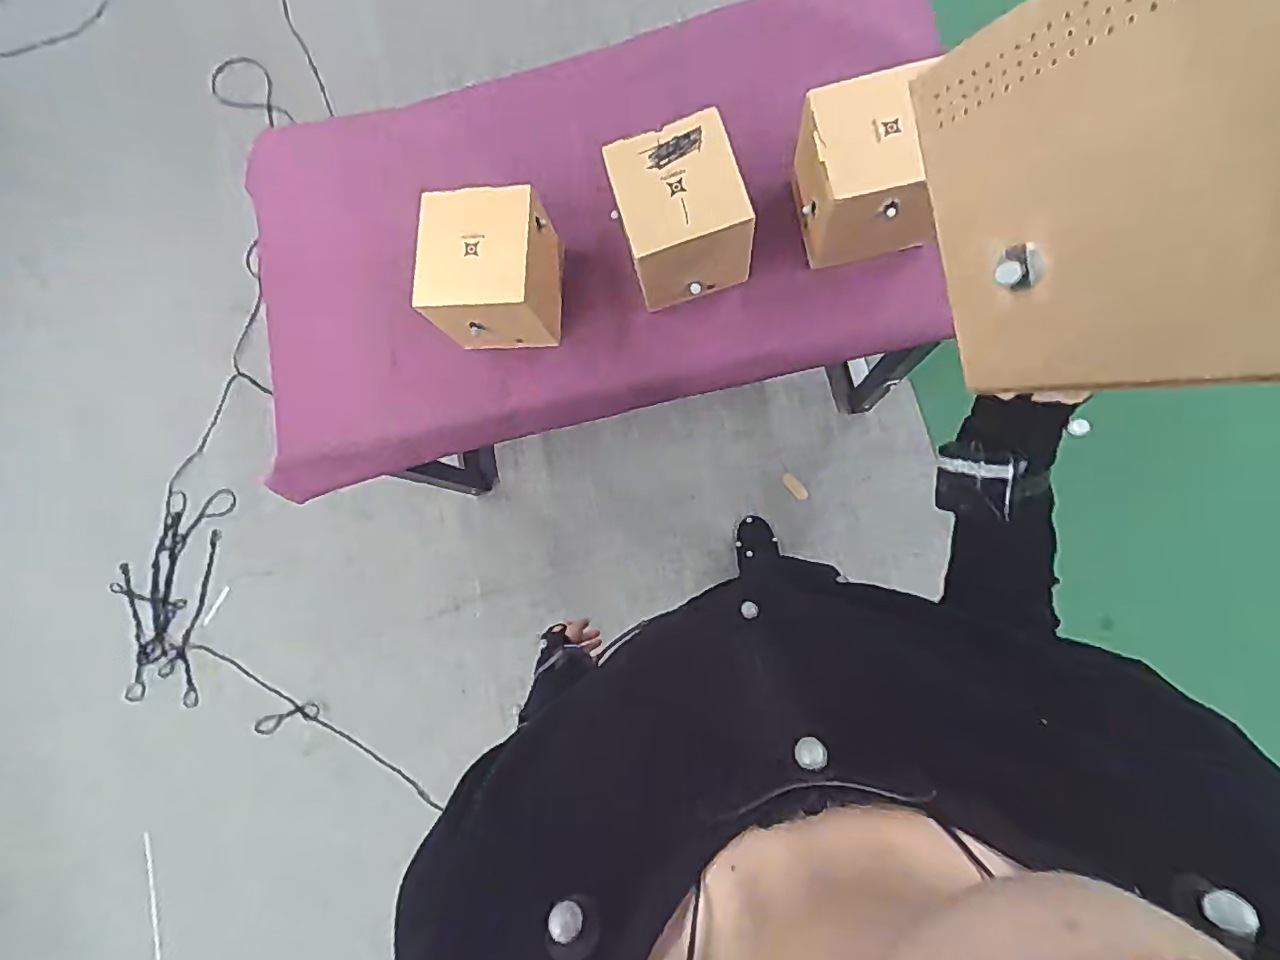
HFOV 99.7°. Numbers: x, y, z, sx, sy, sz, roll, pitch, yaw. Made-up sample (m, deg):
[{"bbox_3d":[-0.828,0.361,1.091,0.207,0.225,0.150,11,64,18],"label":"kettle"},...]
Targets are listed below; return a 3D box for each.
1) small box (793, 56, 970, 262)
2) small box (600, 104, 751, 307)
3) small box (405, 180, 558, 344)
[{"bbox_3d":[0.318,-0.432,0.757,0.179,0.176,0.168,-10,80,6],"label":"small box"},{"bbox_3d":[0.053,-0.385,0.787,0.168,0.176,0.179,-17,81,5],"label":"small box"},{"bbox_3d":[-0.228,-0.314,0.816,0.168,0.176,0.179,0,81,8],"label":"small box"}]
